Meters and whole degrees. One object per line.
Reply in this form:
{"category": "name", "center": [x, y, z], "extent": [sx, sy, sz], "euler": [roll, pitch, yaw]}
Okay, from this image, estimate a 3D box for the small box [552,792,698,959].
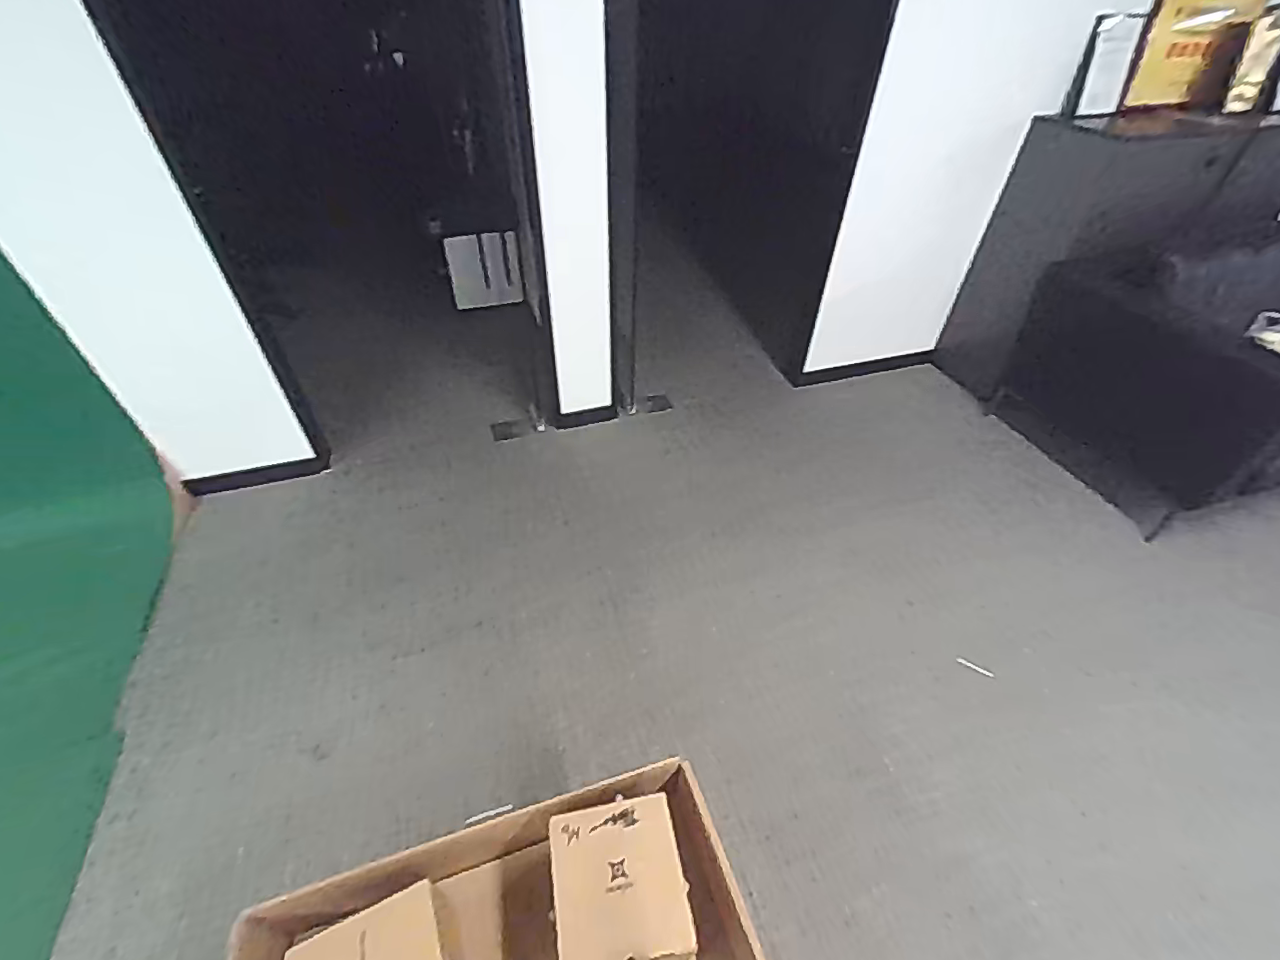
{"category": "small box", "center": [-0.025, 0.566, 0.747], "extent": [0.168, 0.176, 0.179], "euler": [-8, 45, -9]}
